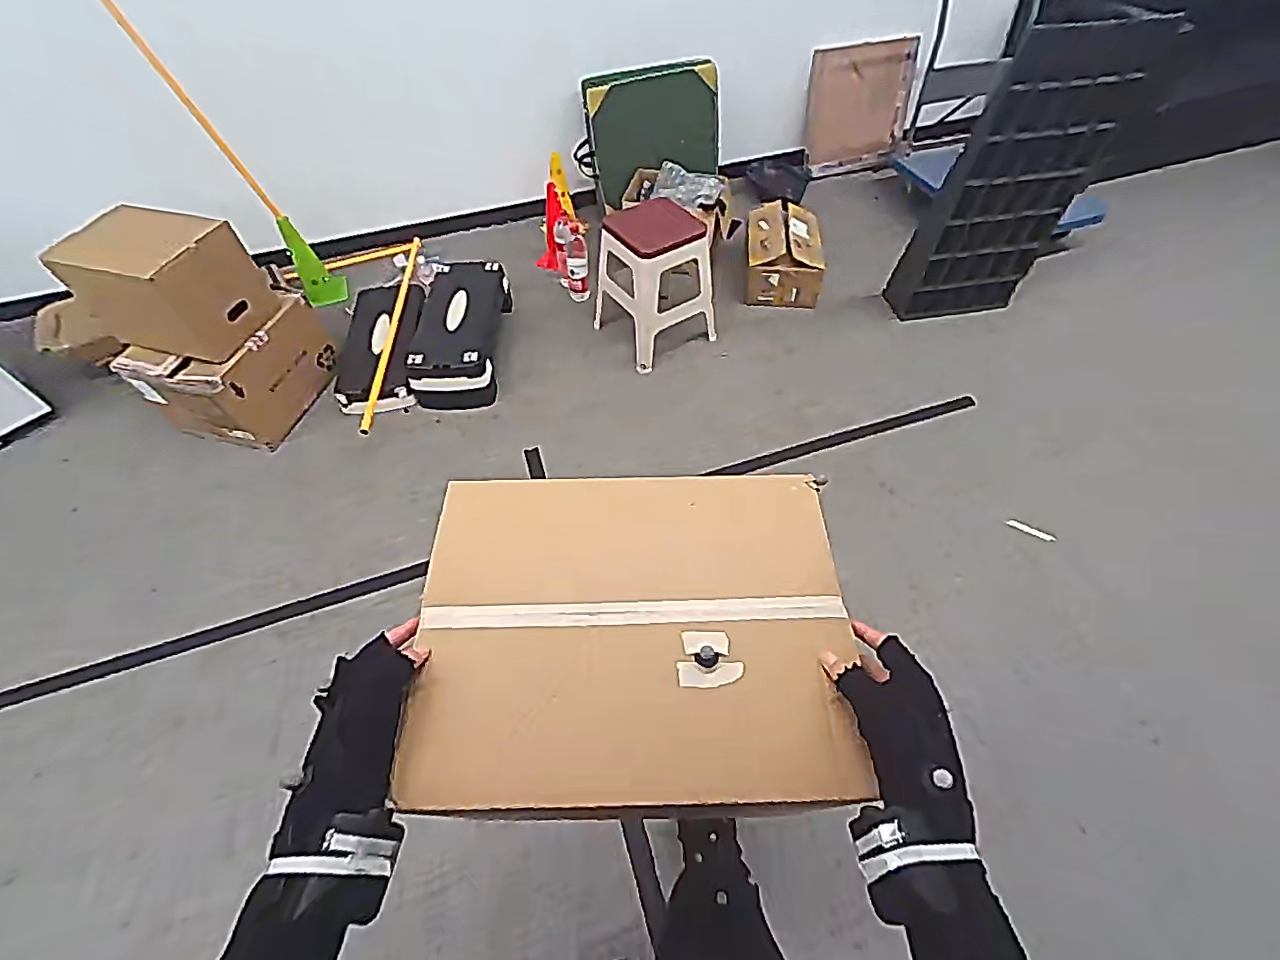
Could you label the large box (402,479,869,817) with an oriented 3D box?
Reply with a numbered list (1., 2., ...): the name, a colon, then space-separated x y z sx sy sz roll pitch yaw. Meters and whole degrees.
1. large box: -0.007 0.215 0.658 0.408 0.320 0.320 -1 56 0
